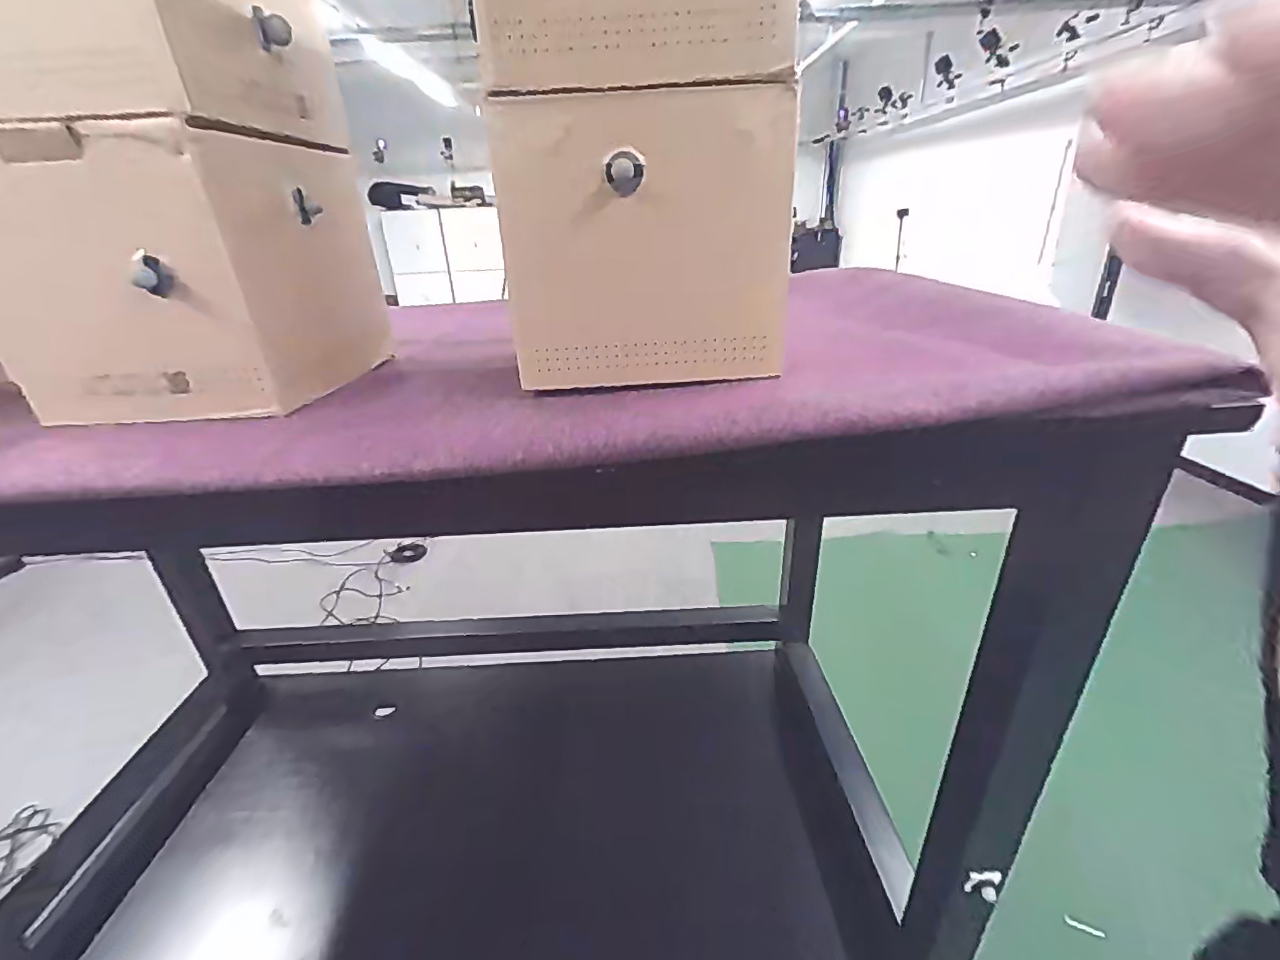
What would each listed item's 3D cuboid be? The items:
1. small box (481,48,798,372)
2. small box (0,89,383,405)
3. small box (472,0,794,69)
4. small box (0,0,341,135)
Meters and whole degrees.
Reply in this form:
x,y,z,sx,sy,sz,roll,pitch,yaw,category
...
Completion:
x,y,z,sx,sy,sz,roll,pitch,yaw,category
0.003,-0.177,0.391,0.179,0.176,0.168,-3,23,-1,small box
-0.309,-0.154,0.384,0.168,0.176,0.179,-1,25,1,small box
-0.007,-0.327,0.331,0.179,0.176,0.168,-3,24,0,small box
-0.315,-0.303,0.313,0.179,0.176,0.168,-1,27,2,small box
